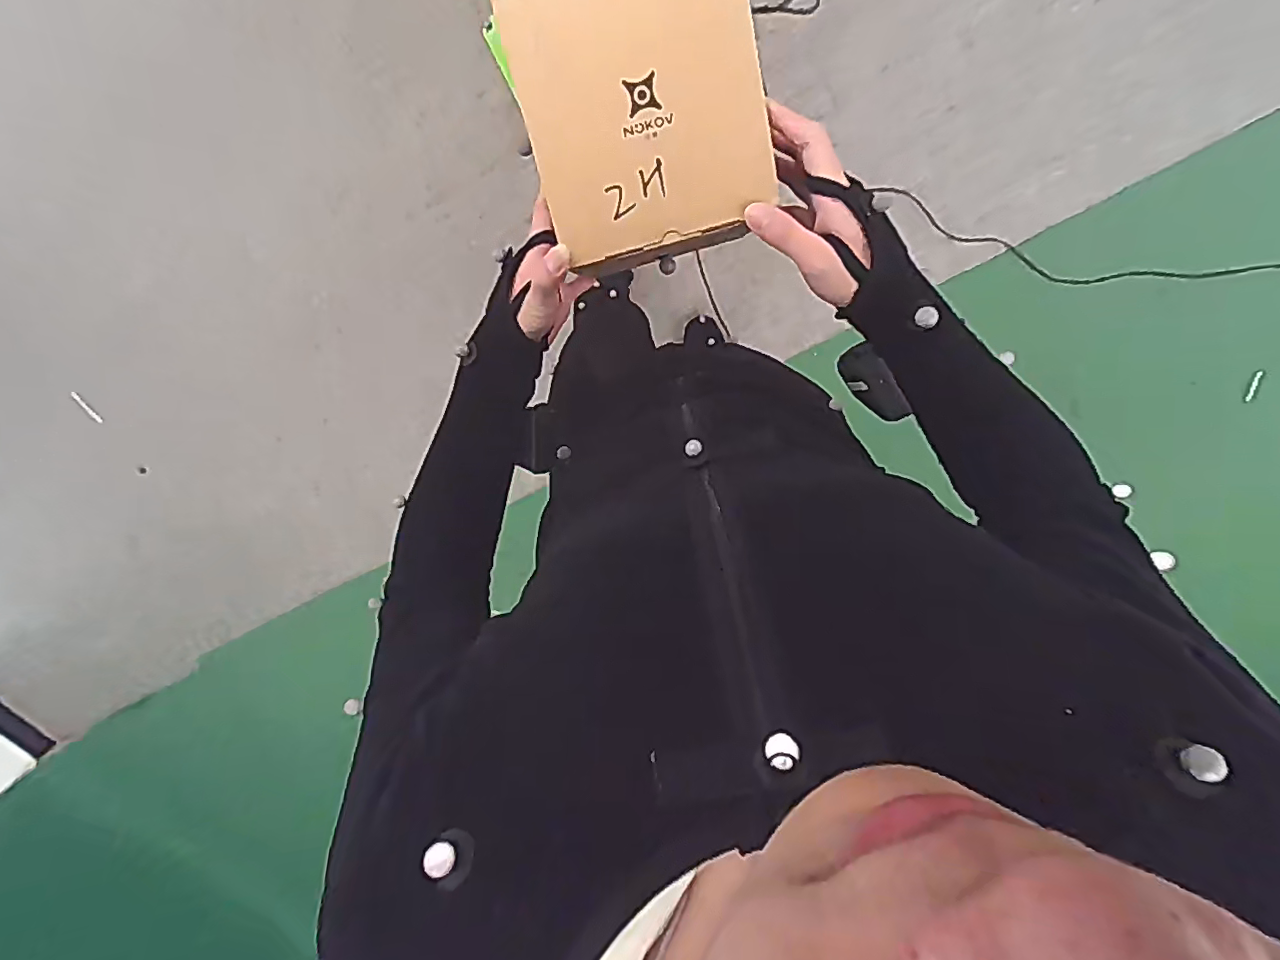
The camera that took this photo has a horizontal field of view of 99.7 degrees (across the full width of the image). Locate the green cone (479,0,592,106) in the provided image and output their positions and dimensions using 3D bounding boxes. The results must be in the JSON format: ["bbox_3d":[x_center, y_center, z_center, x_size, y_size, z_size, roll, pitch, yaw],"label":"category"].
[{"bbox_3d":[-0.236,-0.918,1.058,0.202,0.368,0.200,-25,112,11],"label":"green cone"}]
